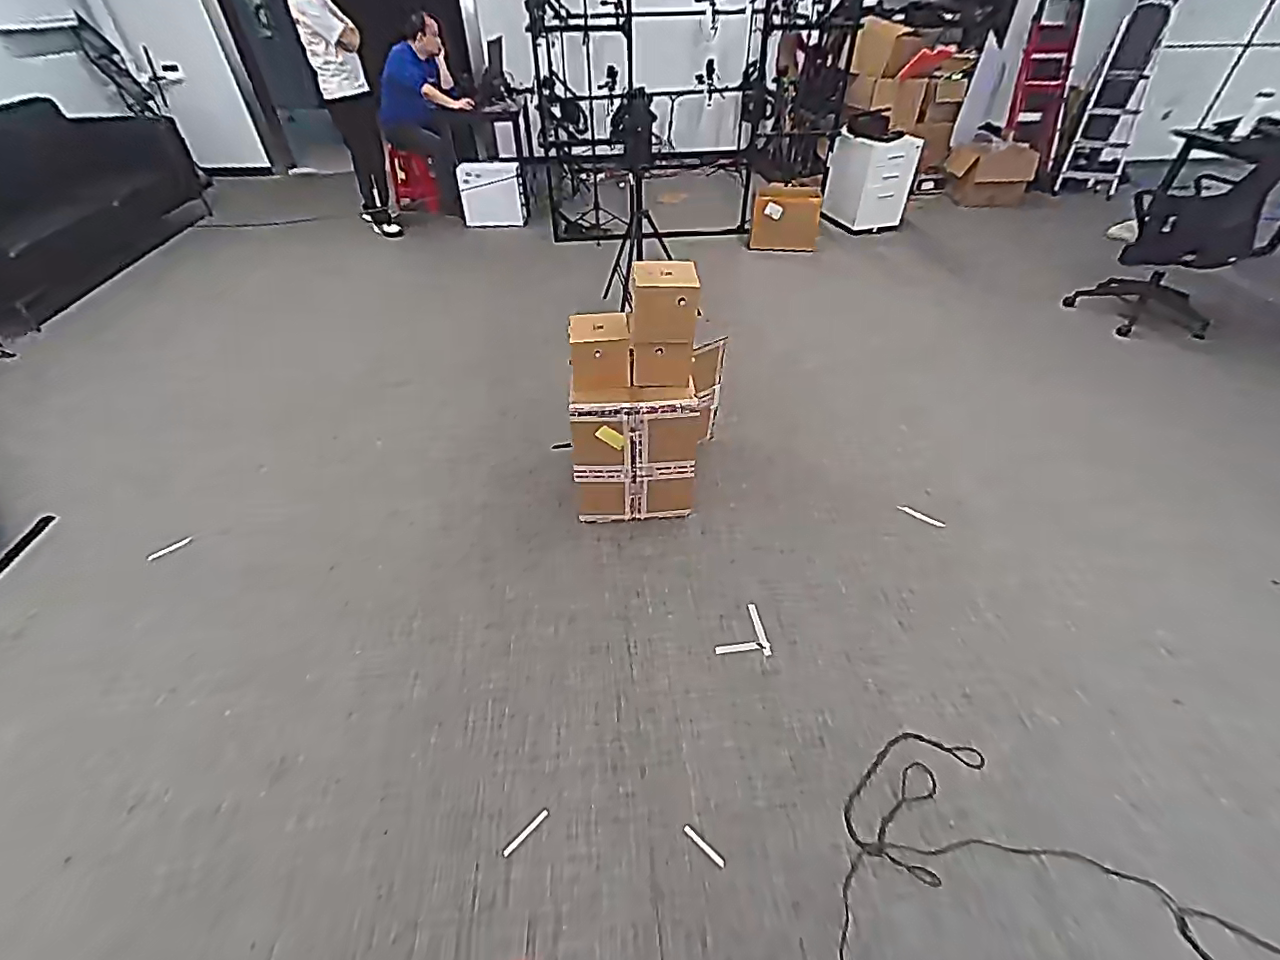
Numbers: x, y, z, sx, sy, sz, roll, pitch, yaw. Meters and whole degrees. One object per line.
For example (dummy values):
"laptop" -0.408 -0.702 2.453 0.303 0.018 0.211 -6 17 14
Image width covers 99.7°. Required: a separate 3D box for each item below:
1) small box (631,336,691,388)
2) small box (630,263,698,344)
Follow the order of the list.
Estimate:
"small box" 0.063 -0.398 1.672 0.179 0.176 0.168 1 44 -1
"small box" 0.062 -0.500 1.540 0.179 0.176 0.168 -1 44 -3
